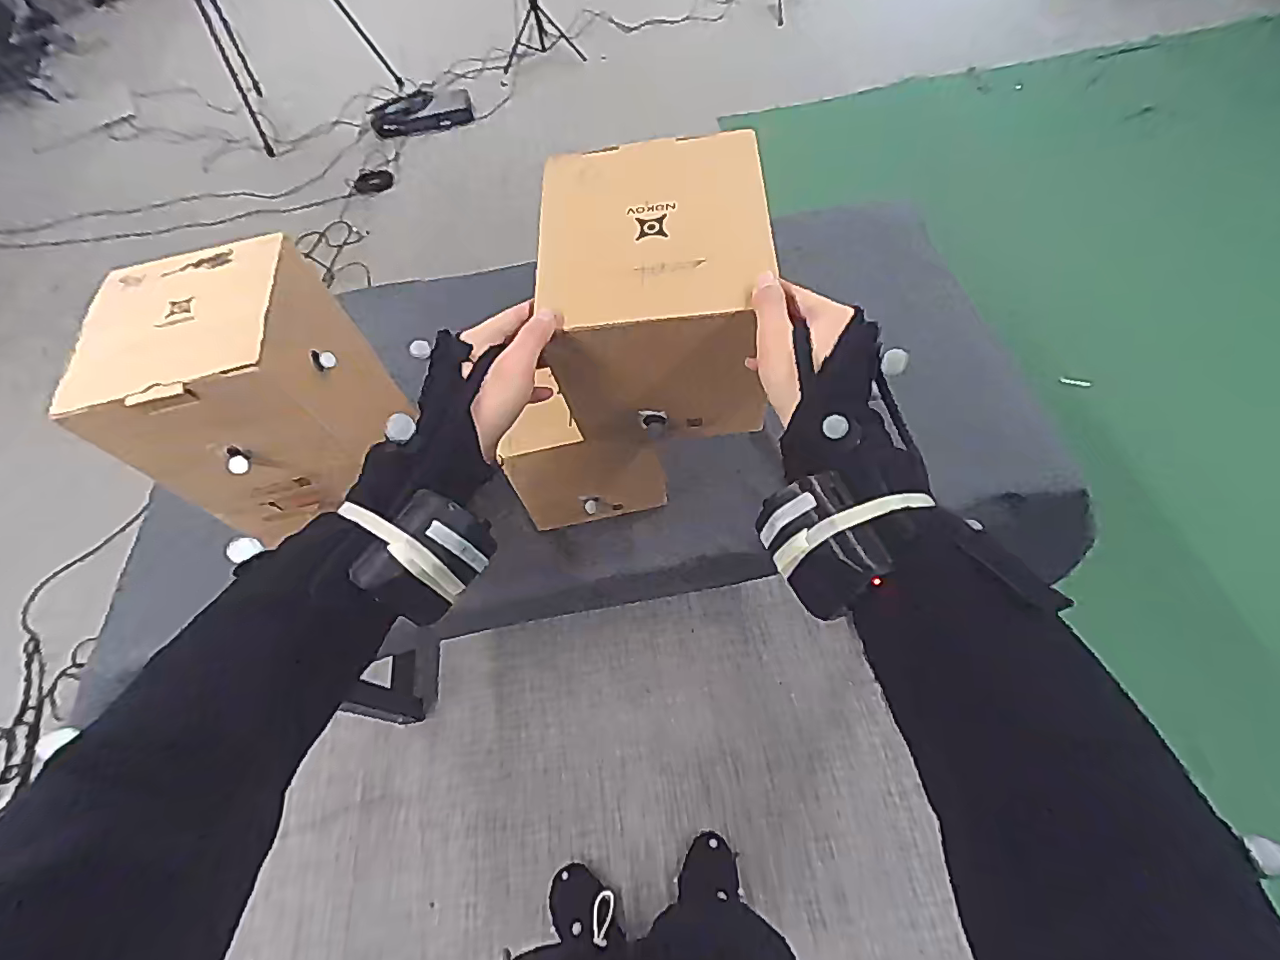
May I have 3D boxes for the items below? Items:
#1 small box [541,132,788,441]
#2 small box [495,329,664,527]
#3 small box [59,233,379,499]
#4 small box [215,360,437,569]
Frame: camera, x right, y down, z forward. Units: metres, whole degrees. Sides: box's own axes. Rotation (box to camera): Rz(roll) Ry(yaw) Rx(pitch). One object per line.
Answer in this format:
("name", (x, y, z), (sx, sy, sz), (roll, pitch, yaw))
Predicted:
("small box", (0.022, -0.151, 0.459), (0.168, 0.176, 0.179), (-4, 66, 6))
("small box", (-0.069, -0.067, 0.656), (0.168, 0.176, 0.179), (-12, 58, 0))
("small box", (-0.375, -0.097, 0.524), (0.168, 0.176, 0.179), (-14, 59, -2))
("small box", (-0.363, -0.014, 0.665), (0.168, 0.176, 0.179), (-13, 59, -1))
